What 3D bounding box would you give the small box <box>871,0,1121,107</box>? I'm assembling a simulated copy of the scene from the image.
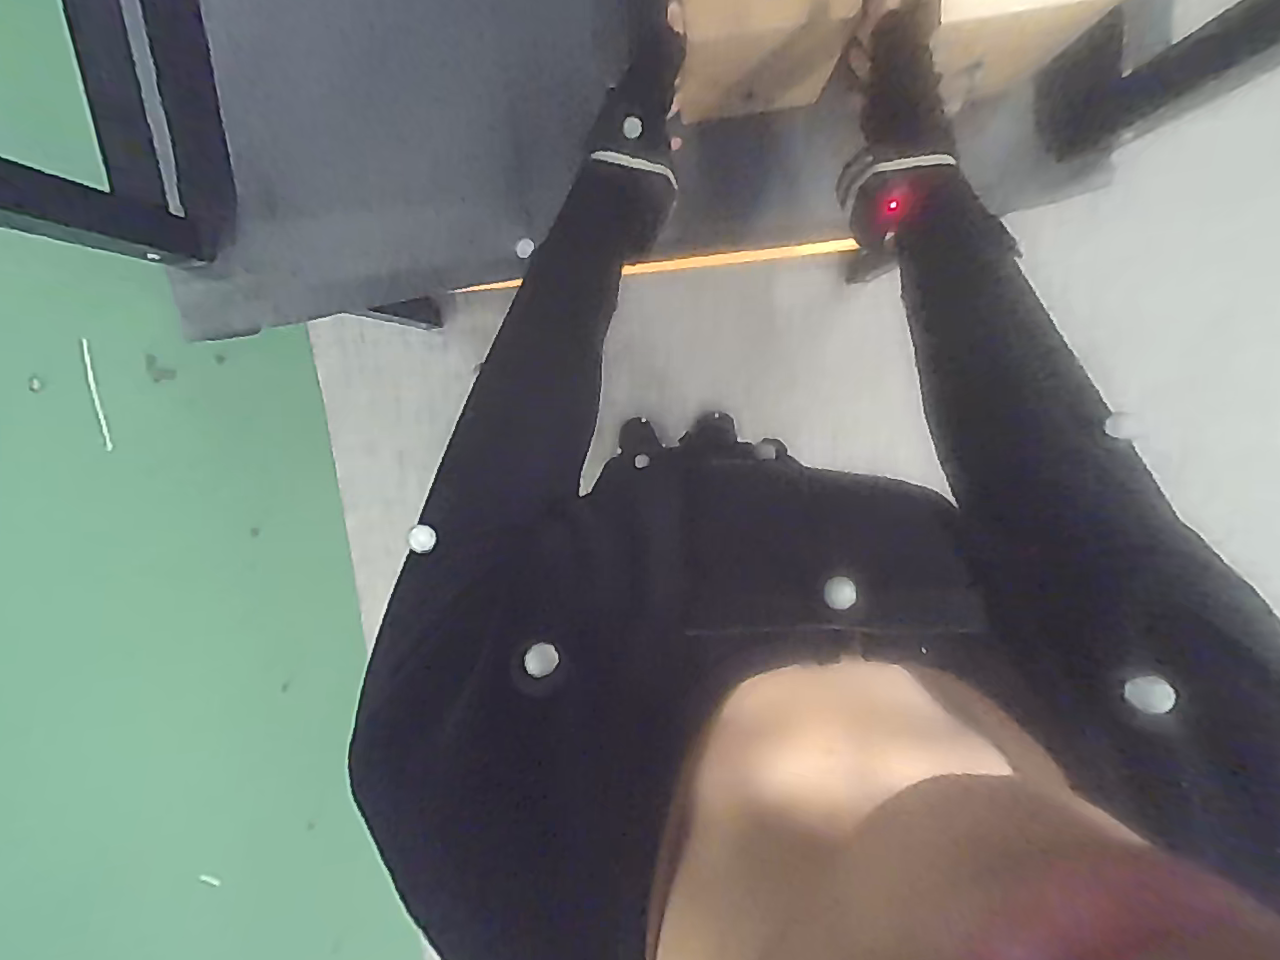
[{"bbox_3d":[0.351,-0.519,0.557,0.168,0.176,0.179,-7,99,4],"label":"small box"}]
